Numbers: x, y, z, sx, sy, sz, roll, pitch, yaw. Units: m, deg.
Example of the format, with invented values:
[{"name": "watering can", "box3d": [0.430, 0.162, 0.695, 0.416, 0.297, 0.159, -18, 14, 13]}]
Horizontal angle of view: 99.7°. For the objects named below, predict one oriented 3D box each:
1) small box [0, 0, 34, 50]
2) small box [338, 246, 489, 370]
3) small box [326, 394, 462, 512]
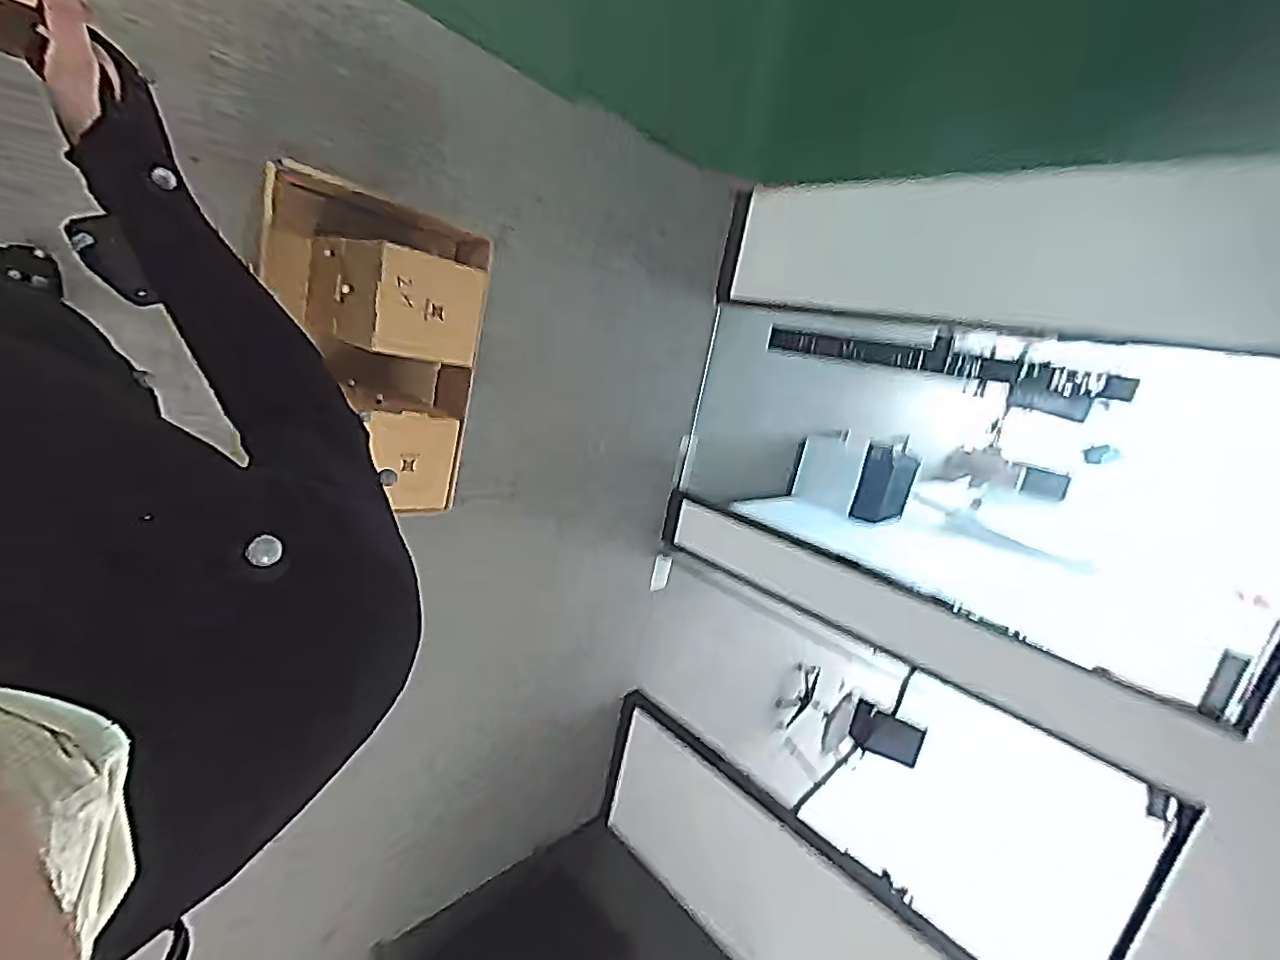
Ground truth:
[{"name": "small box", "box3d": [-0.505, -0.417, 0.337, 0.168, 0.176, 0.179, -4, 109, -51]}, {"name": "small box", "box3d": [-0.394, -0.299, 0.940, 0.179, 0.176, 0.168, 0, 108, -48]}, {"name": "small box", "box3d": [-0.456, -0.051, 0.995, 0.168, 0.176, 0.179, 3, 106, -47]}]
